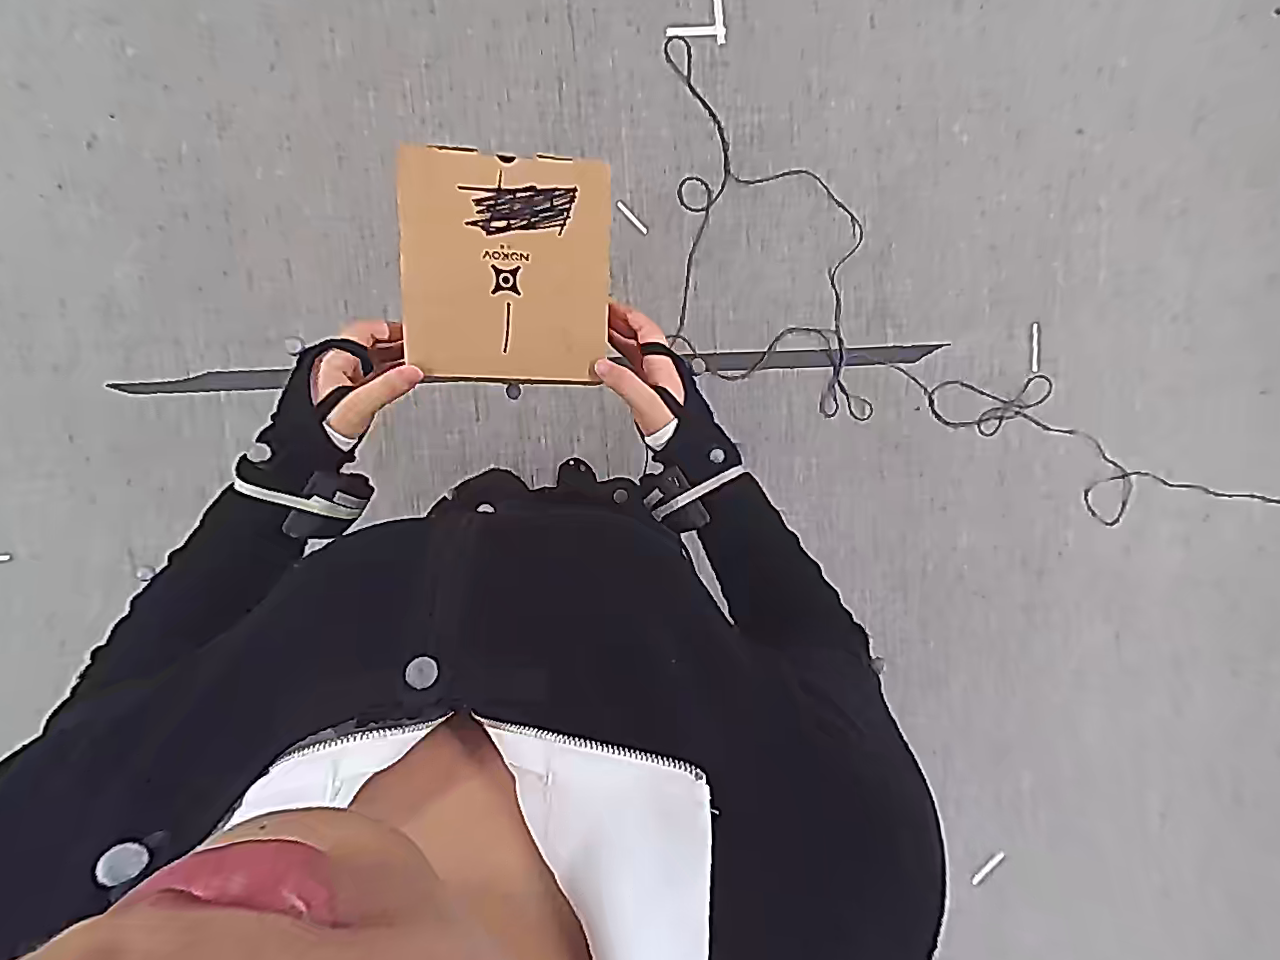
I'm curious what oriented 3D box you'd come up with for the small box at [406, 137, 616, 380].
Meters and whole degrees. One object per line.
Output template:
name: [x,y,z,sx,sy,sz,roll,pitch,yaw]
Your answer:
small box: [-0.115,-0.189,0.516,0.168,0.176,0.179,0,100,-8]
